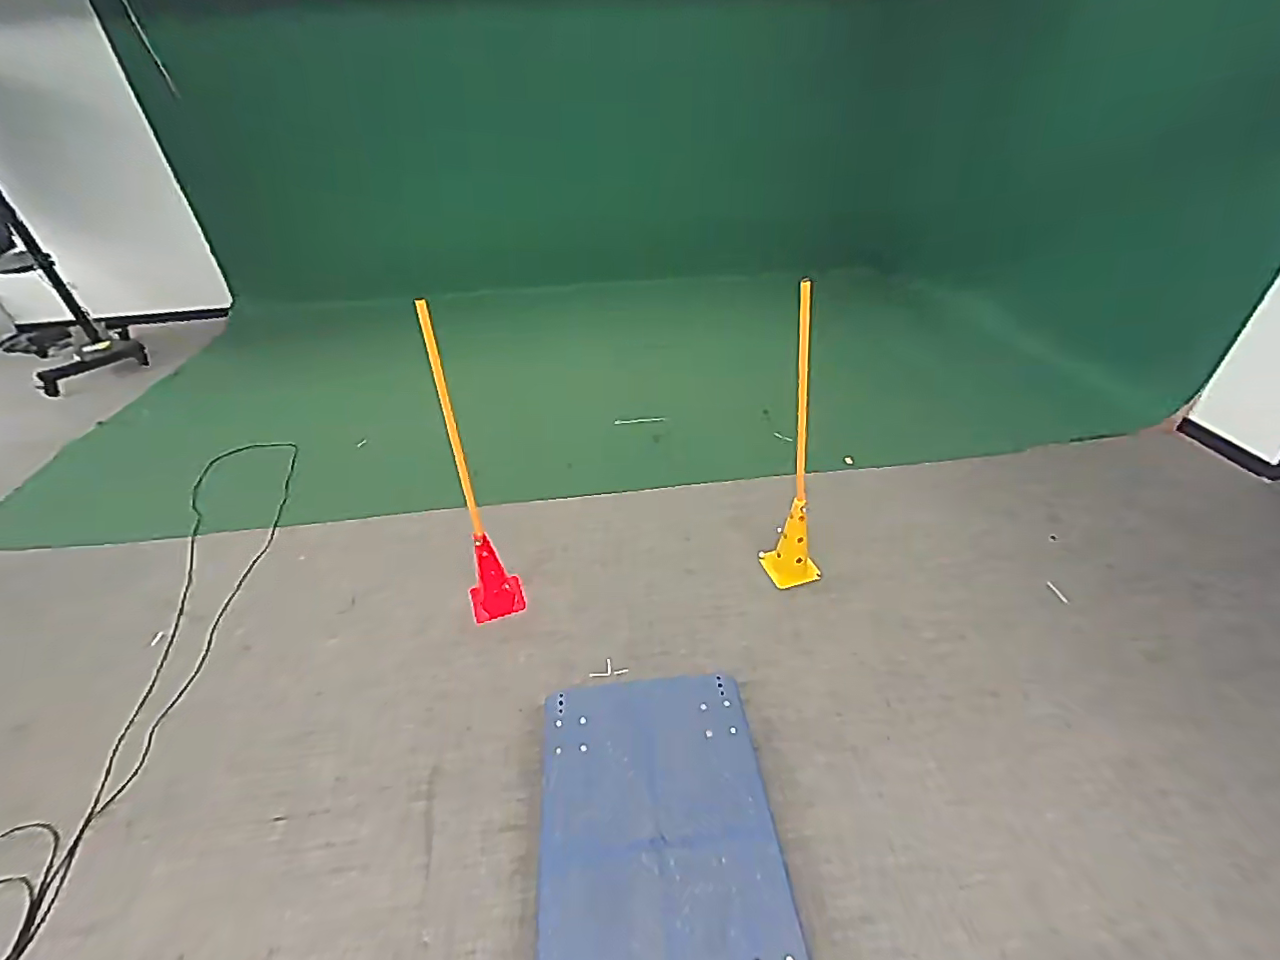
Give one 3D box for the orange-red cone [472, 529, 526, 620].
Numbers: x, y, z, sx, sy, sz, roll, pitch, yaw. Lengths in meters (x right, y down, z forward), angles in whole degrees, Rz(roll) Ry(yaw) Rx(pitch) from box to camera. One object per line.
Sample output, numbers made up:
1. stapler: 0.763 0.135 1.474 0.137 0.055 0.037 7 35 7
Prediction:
1. orange-red cone: -0.571 0.328 2.044 0.199 0.360 0.198 -16 39 -14
